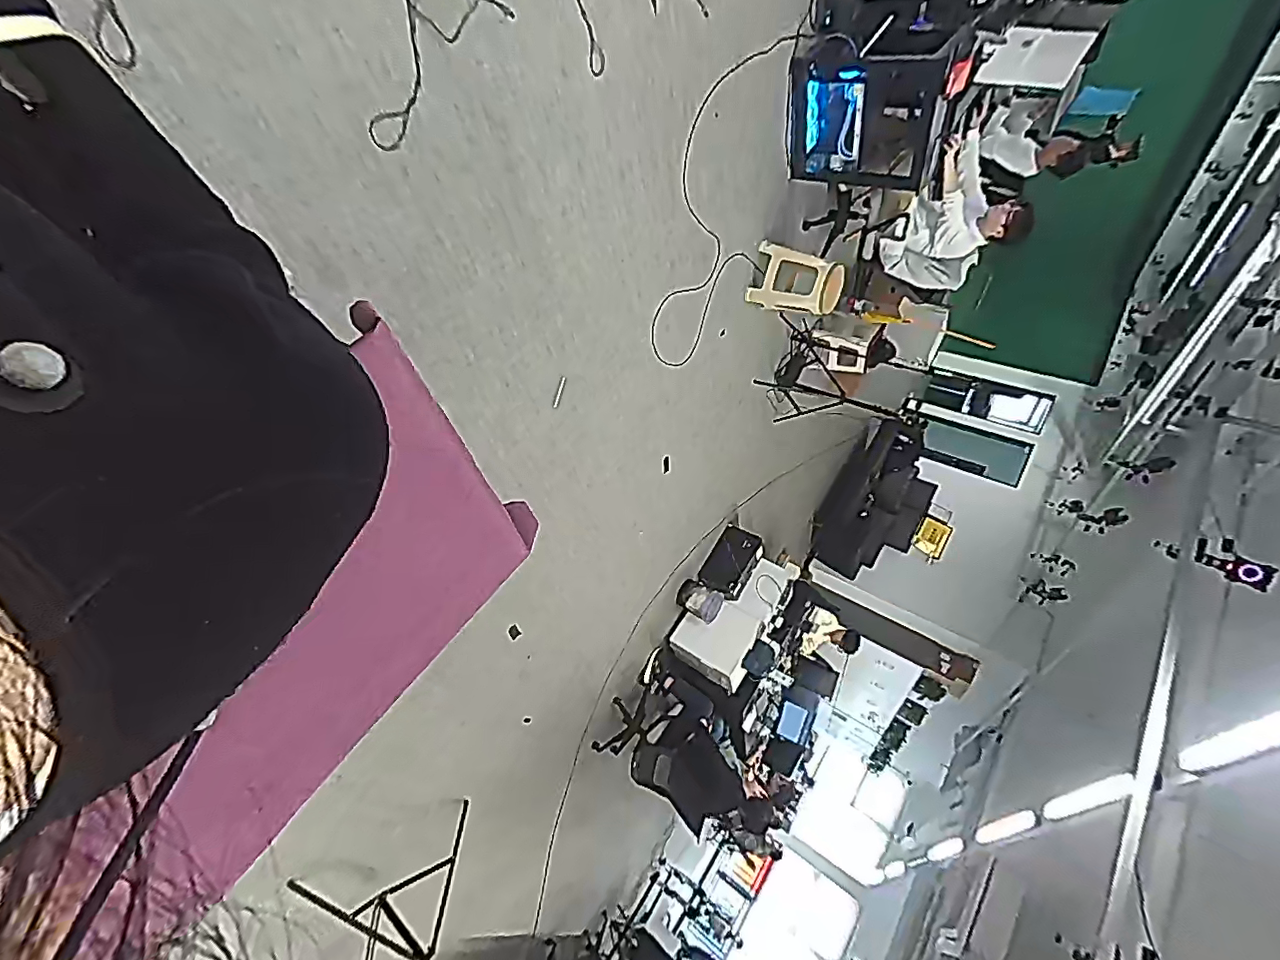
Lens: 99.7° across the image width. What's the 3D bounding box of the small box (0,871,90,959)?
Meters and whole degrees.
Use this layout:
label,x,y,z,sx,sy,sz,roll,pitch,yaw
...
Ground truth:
label,x,y,z,sx,sy,sz,roll,pitch,yaw
small box,-0.765,0.562,0.588,0.168,0.176,0.179,-49,146,-28
